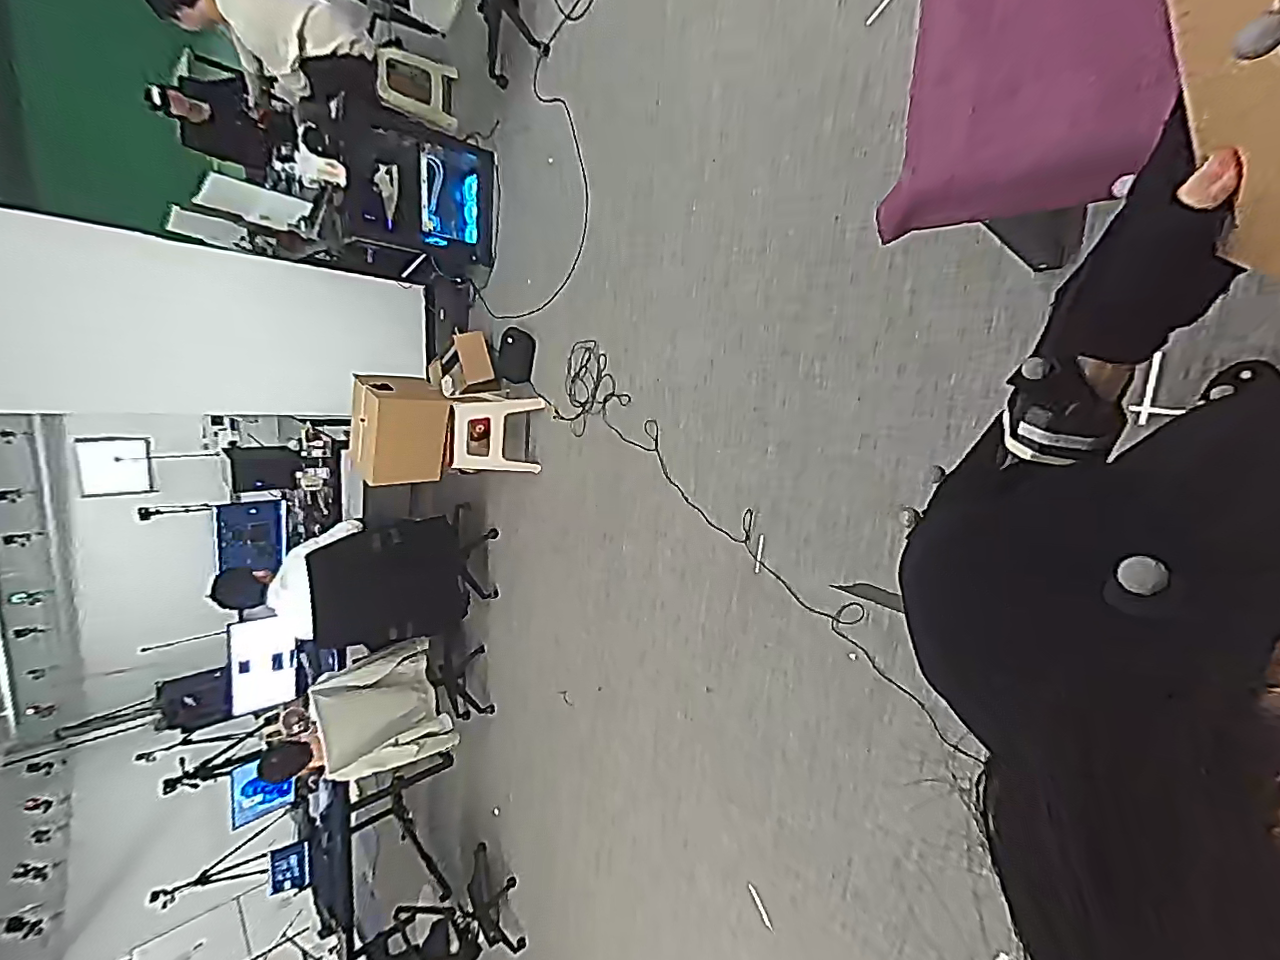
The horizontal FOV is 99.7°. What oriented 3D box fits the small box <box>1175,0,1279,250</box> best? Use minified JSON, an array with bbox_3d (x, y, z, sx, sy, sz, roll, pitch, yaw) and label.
[{"bbox_3d":[0.287,-0.173,0.148,0.168,0.176,0.179,-16,109,37],"label":"small box"}]
